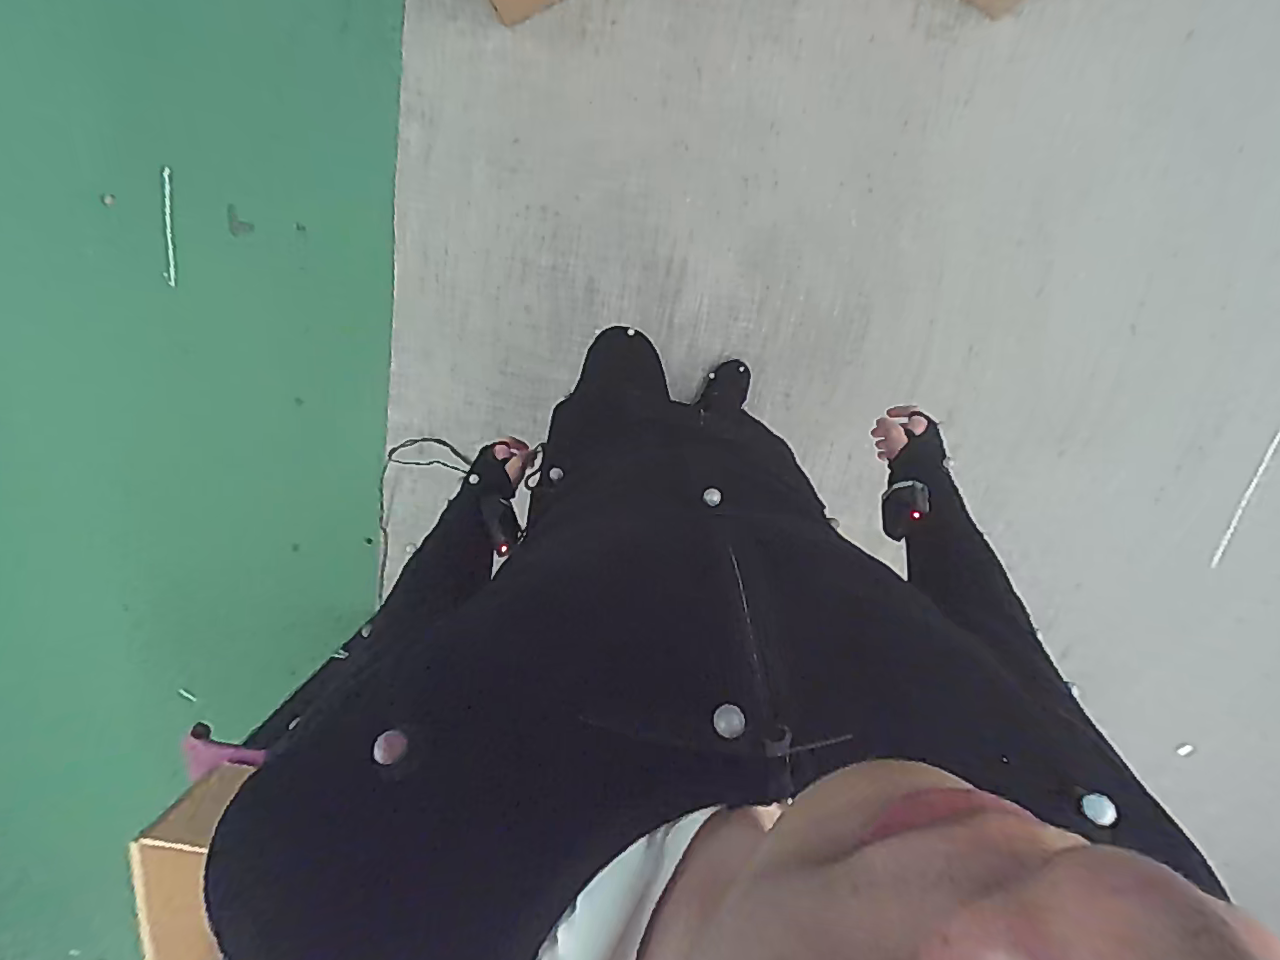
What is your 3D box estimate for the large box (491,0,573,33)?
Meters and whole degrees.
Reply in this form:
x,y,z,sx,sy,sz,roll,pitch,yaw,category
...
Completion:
x,y,z,sx,sy,sz,roll,pitch,yaw,category
-0.210,-1.283,1.150,0.408,0.320,0.320,-21,102,10,large box
